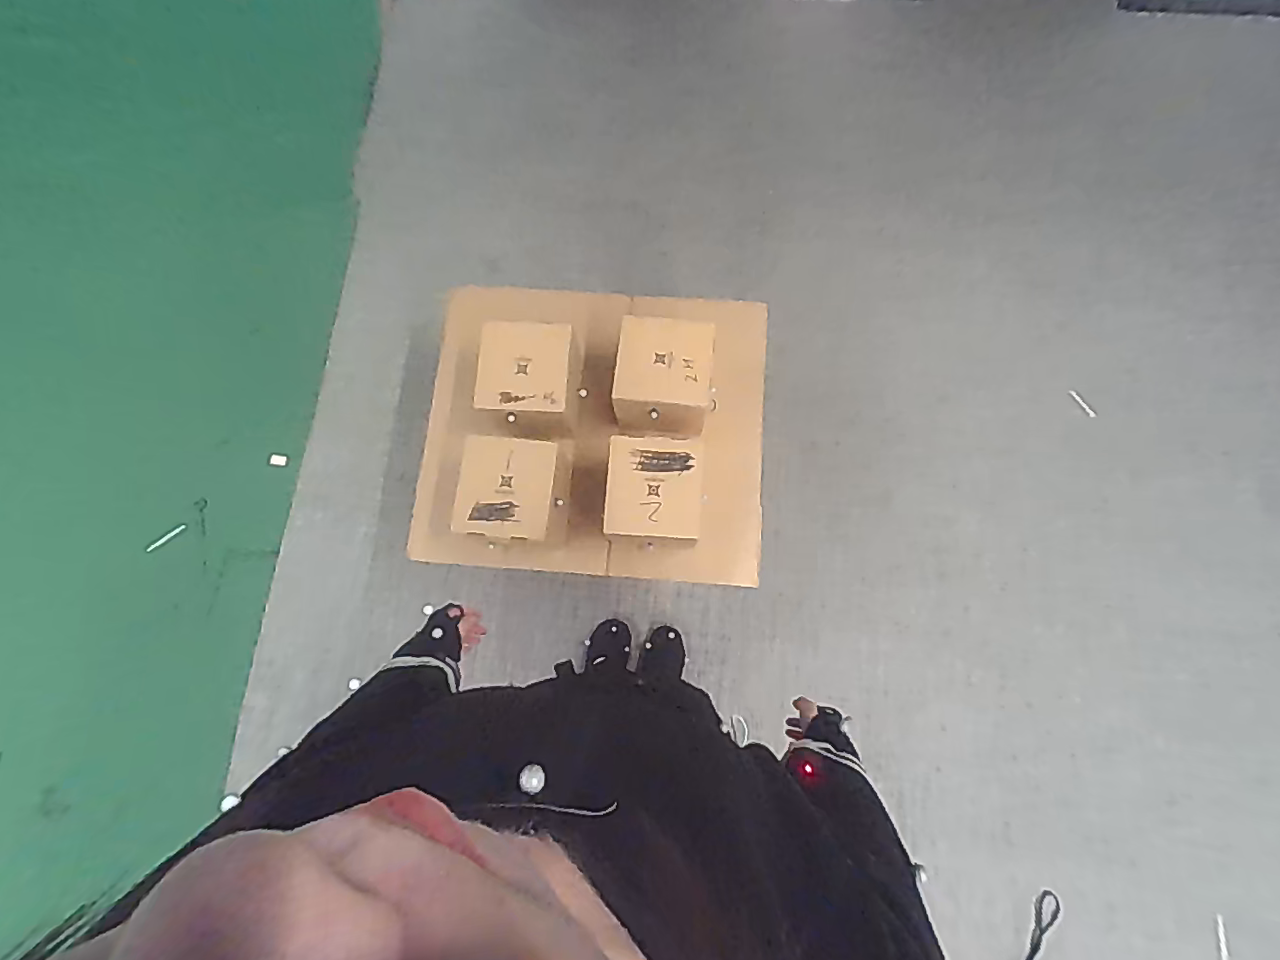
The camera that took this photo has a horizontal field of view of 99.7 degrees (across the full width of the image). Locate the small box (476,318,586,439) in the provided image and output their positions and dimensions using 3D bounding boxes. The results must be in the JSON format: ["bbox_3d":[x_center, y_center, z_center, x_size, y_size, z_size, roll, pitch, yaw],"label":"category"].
[{"bbox_3d":[-0.201,-0.192,1.051,0.168,0.176,0.179,3,76,4],"label":"small box"}]

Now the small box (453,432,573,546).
[{"bbox_3d":[-0.224,0.025,1.005,0.168,0.176,0.179,6,77,3],"label":"small box"}]
